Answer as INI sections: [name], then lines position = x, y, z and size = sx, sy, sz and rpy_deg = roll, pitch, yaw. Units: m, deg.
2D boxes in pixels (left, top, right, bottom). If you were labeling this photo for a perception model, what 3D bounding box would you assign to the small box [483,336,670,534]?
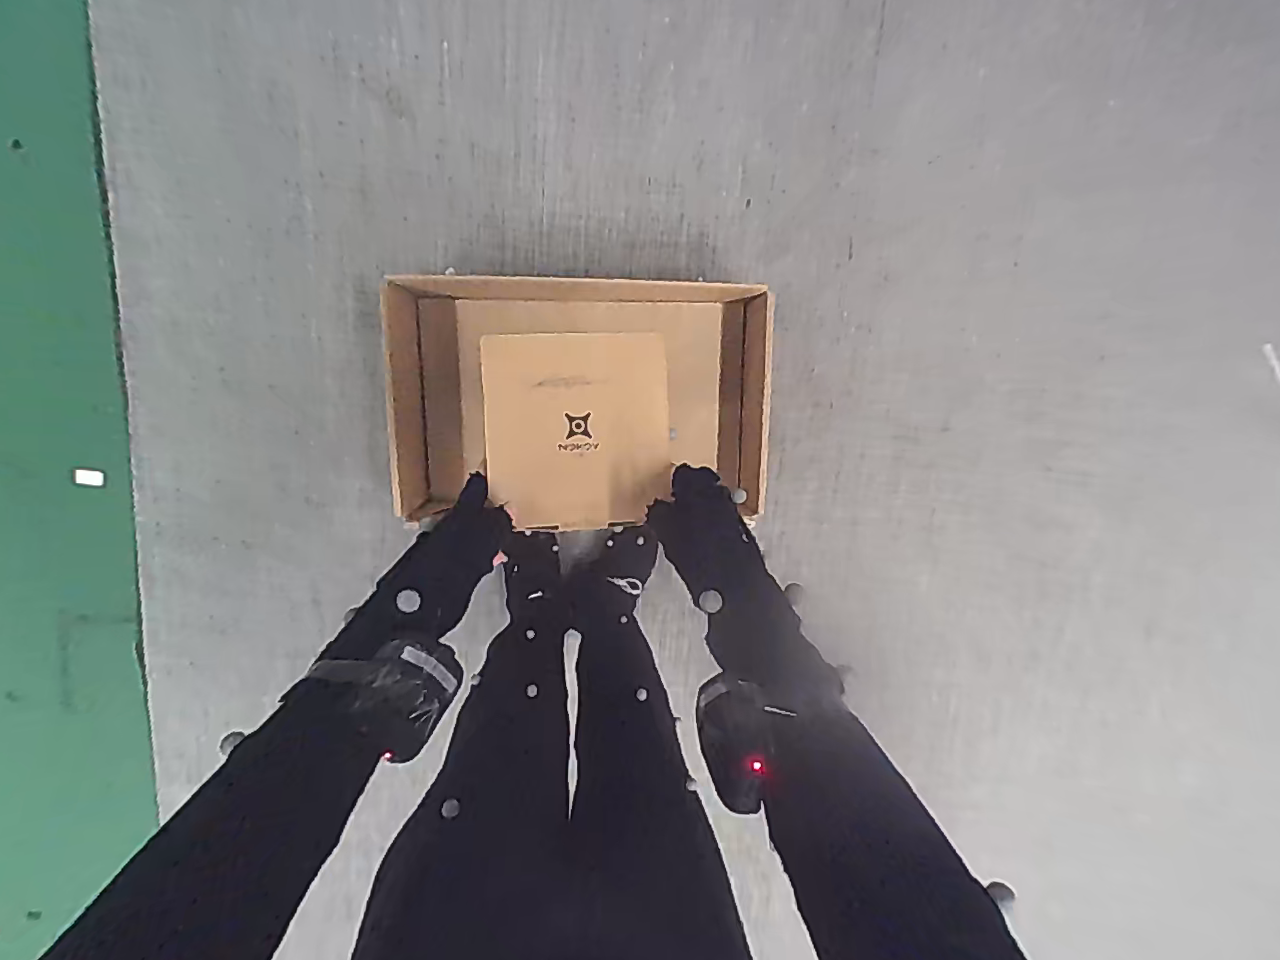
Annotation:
[small box]
position = -0.064, -0.045, 0.569
size = 0.168, 0.176, 0.179
rpy_deg = -3, 91, -7
